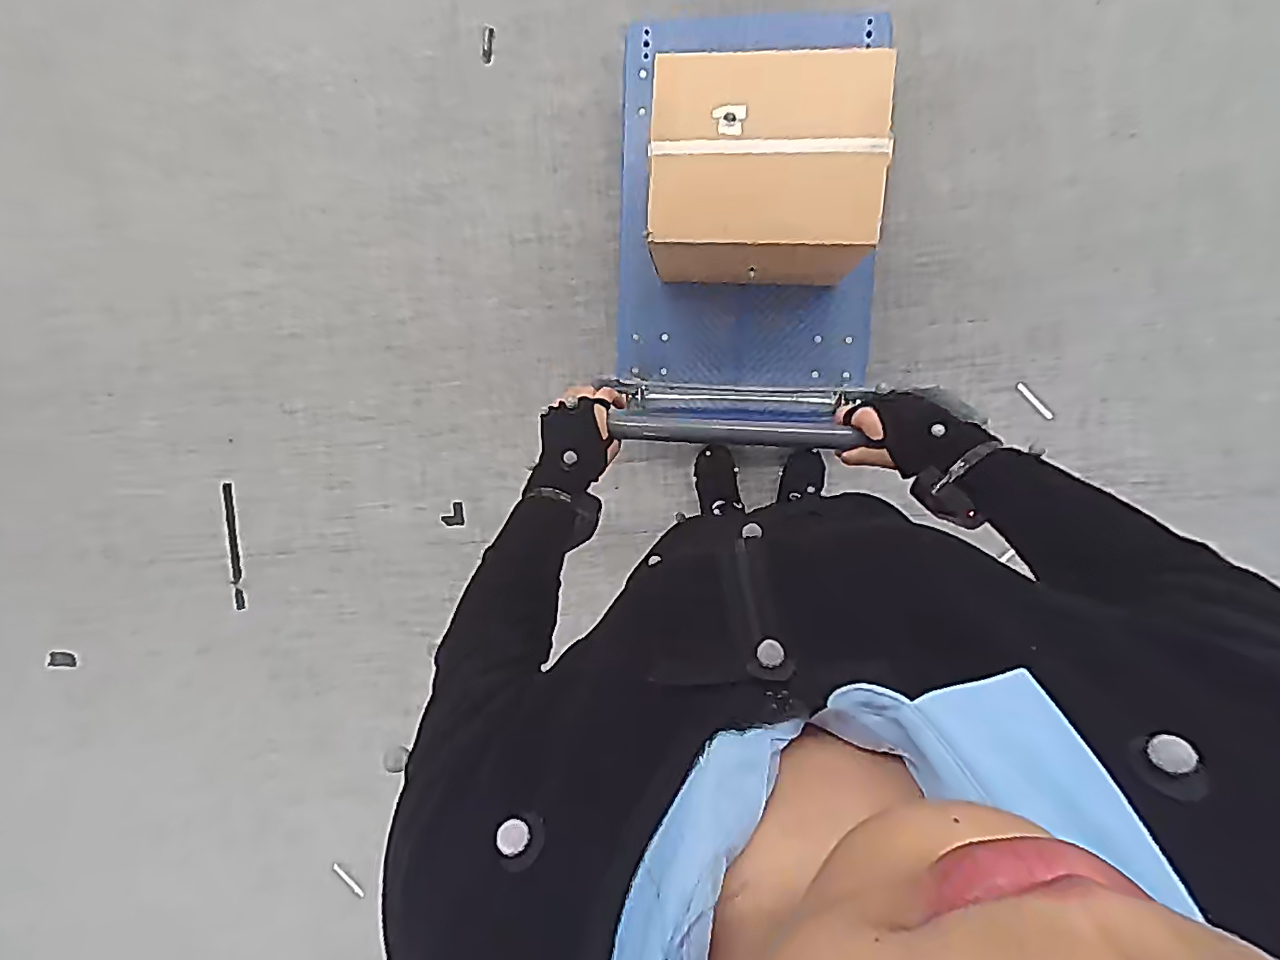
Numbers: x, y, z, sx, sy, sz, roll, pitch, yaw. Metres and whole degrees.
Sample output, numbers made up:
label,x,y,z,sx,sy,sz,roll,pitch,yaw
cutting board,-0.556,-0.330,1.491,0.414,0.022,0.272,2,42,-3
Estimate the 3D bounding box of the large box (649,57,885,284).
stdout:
label,x,y,z,sx,sy,sz,roll,pitch,yaw
large box,0.238,-0.590,1.103,0.408,0.320,0.320,3,96,7
